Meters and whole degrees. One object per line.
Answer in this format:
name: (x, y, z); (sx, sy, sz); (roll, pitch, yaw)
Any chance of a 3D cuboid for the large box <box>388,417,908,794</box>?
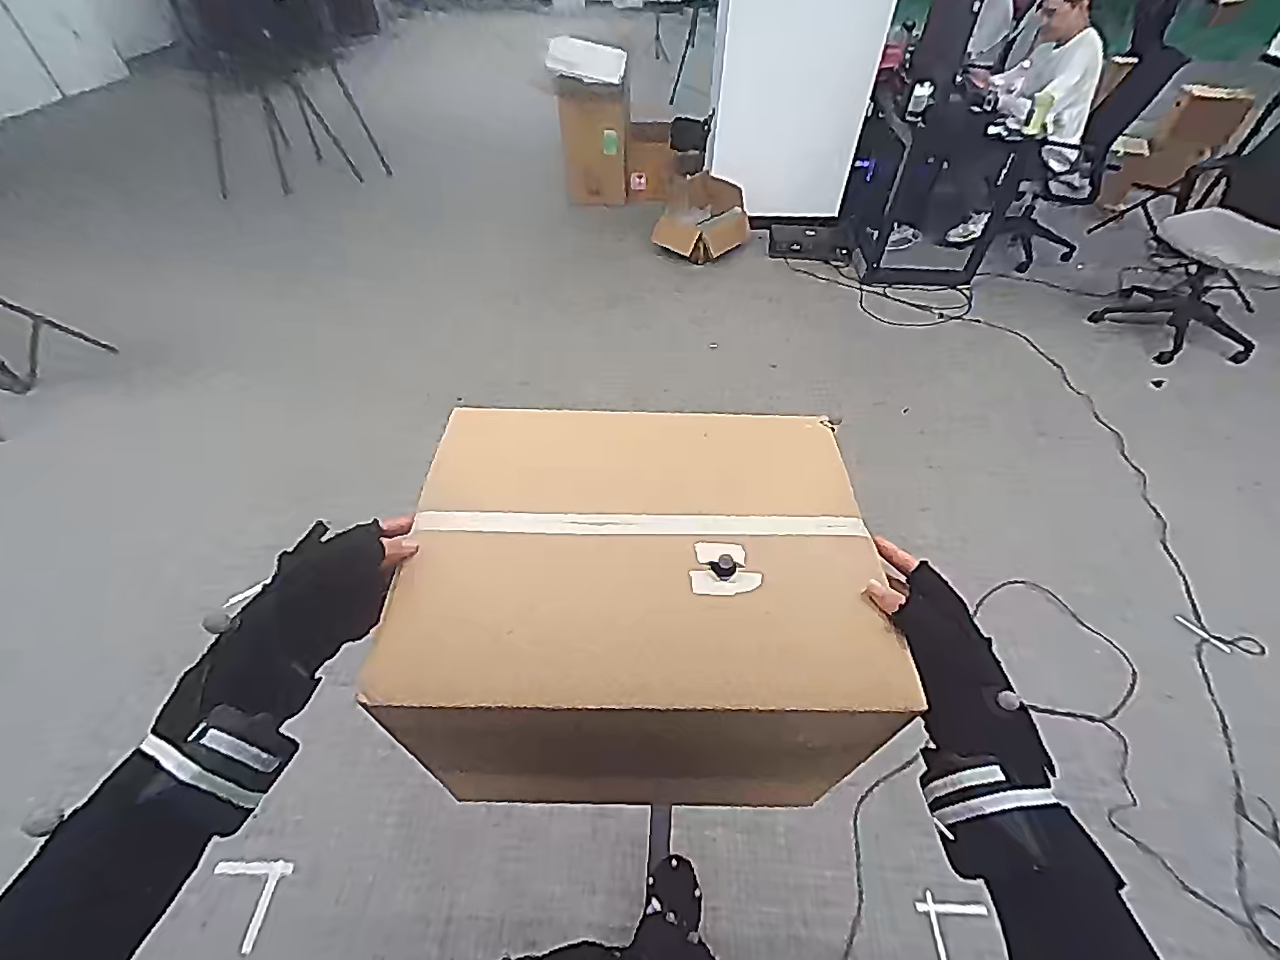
large box: (0.001, 0.147, 0.614); (0.408, 0.320, 0.320); (2, 49, -2)
